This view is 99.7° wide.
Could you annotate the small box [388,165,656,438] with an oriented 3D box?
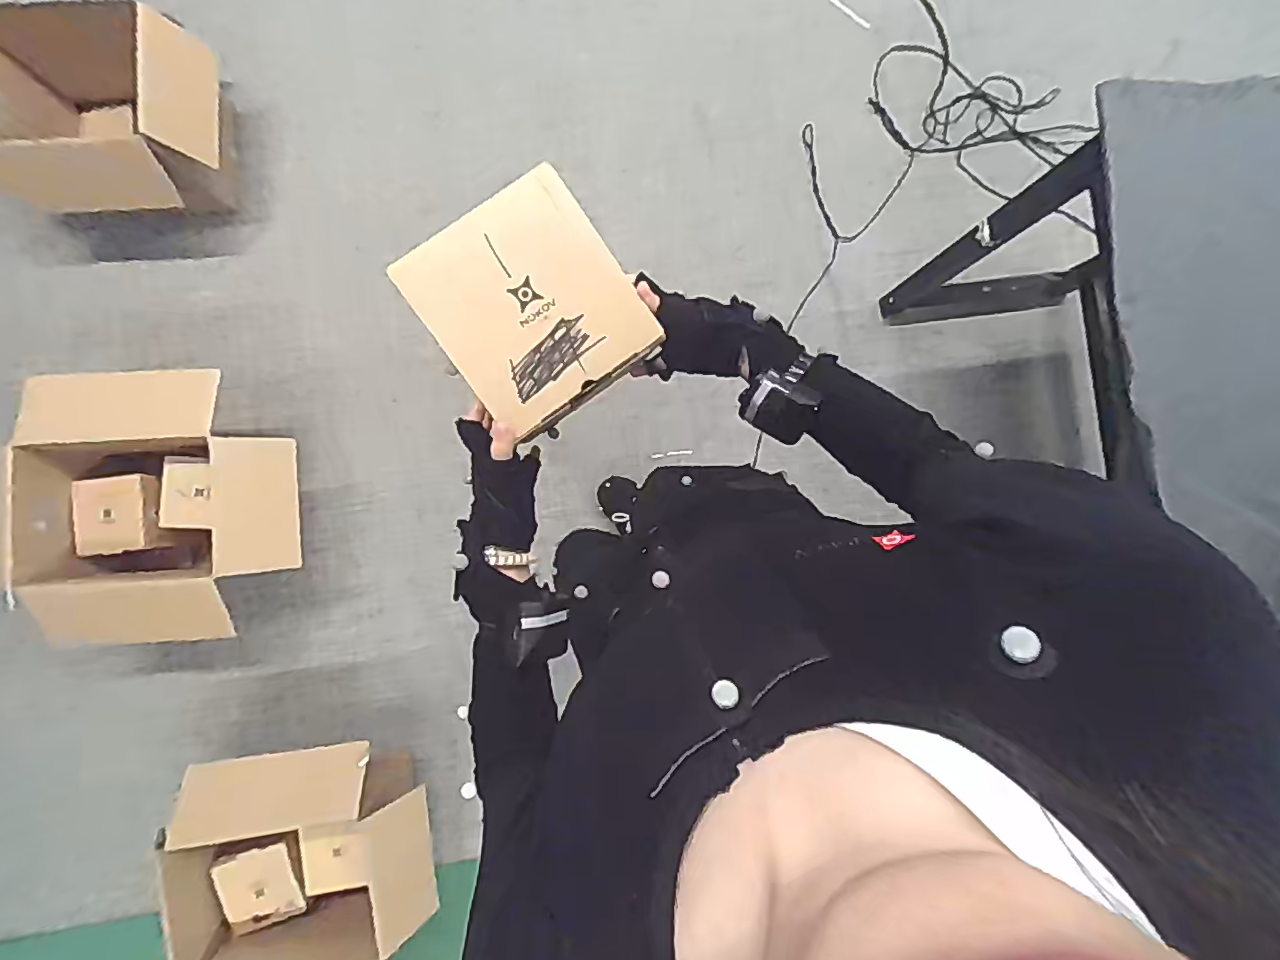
[{"bbox_3d":[-0.106,-0.159,0.542,0.168,0.176,0.179,-36,97,-4],"label":"small box"}]
